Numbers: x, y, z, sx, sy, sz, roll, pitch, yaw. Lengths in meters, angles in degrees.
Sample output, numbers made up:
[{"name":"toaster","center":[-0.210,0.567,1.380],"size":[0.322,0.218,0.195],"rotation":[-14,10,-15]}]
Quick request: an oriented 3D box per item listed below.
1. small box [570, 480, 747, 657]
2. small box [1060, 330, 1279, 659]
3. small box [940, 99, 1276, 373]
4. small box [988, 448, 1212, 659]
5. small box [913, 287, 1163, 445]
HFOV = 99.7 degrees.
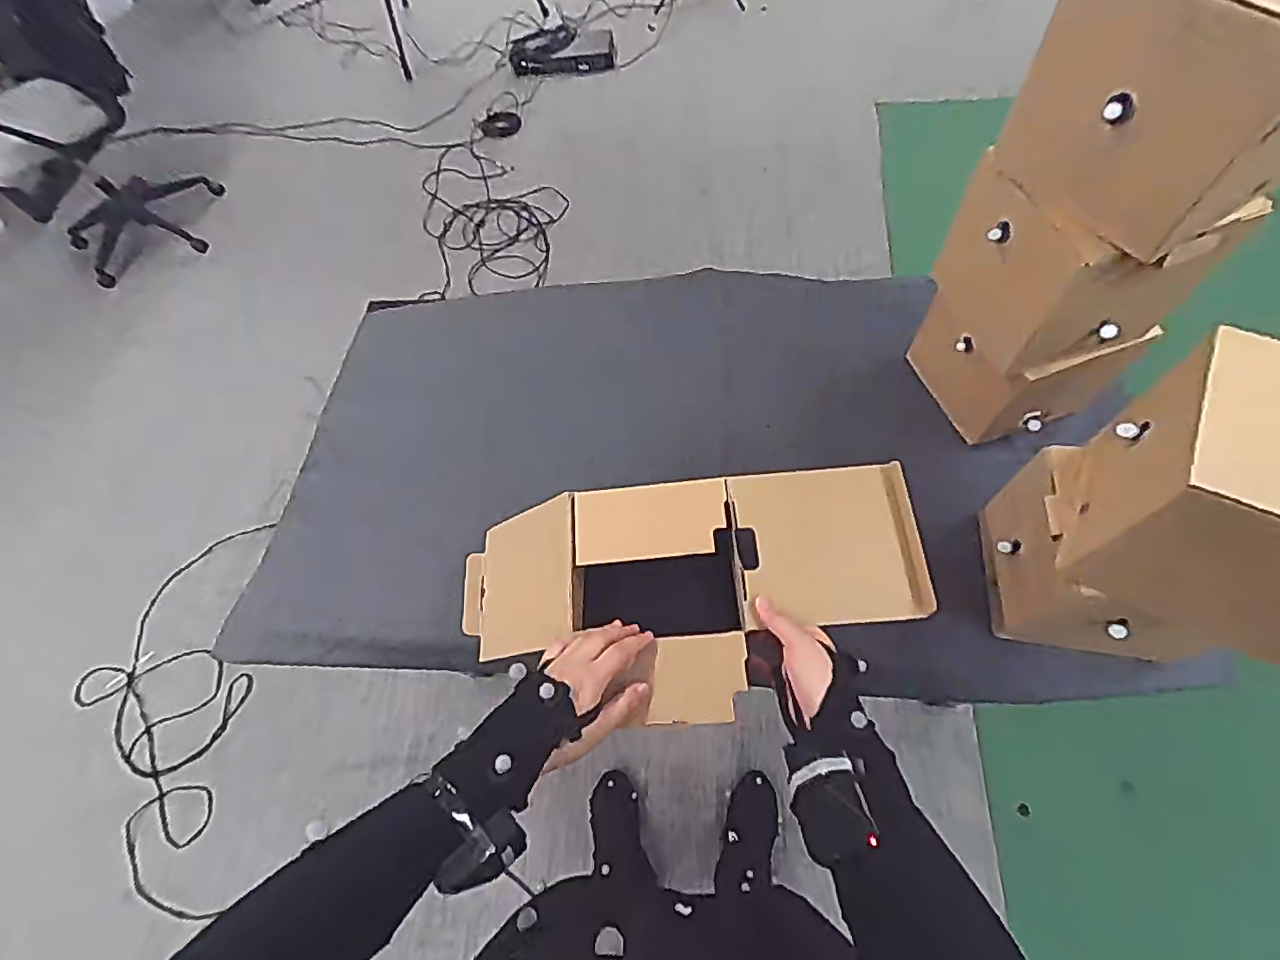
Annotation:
[{"name":"small box","center":[0.024,0.112,0.629],"size":[0.179,0.176,0.168],"rotation":[-7,67,7]},{"name":"small box","center":[0.485,0.019,0.430],"size":[0.179,0.176,0.168],"rotation":[26,67,19]},{"name":"small box","center":[0.452,-0.245,0.567],"size":[0.168,0.176,0.179],"rotation":[-17,63,3]},{"name":"small box","center":[0.501,0.084,0.580],"size":[0.179,0.176,0.168],"rotation":[6,62,11]},{"name":"small box","center":[0.494,-0.175,0.711],"size":[0.168,0.176,0.179],"rotation":[-19,65,0]}]
